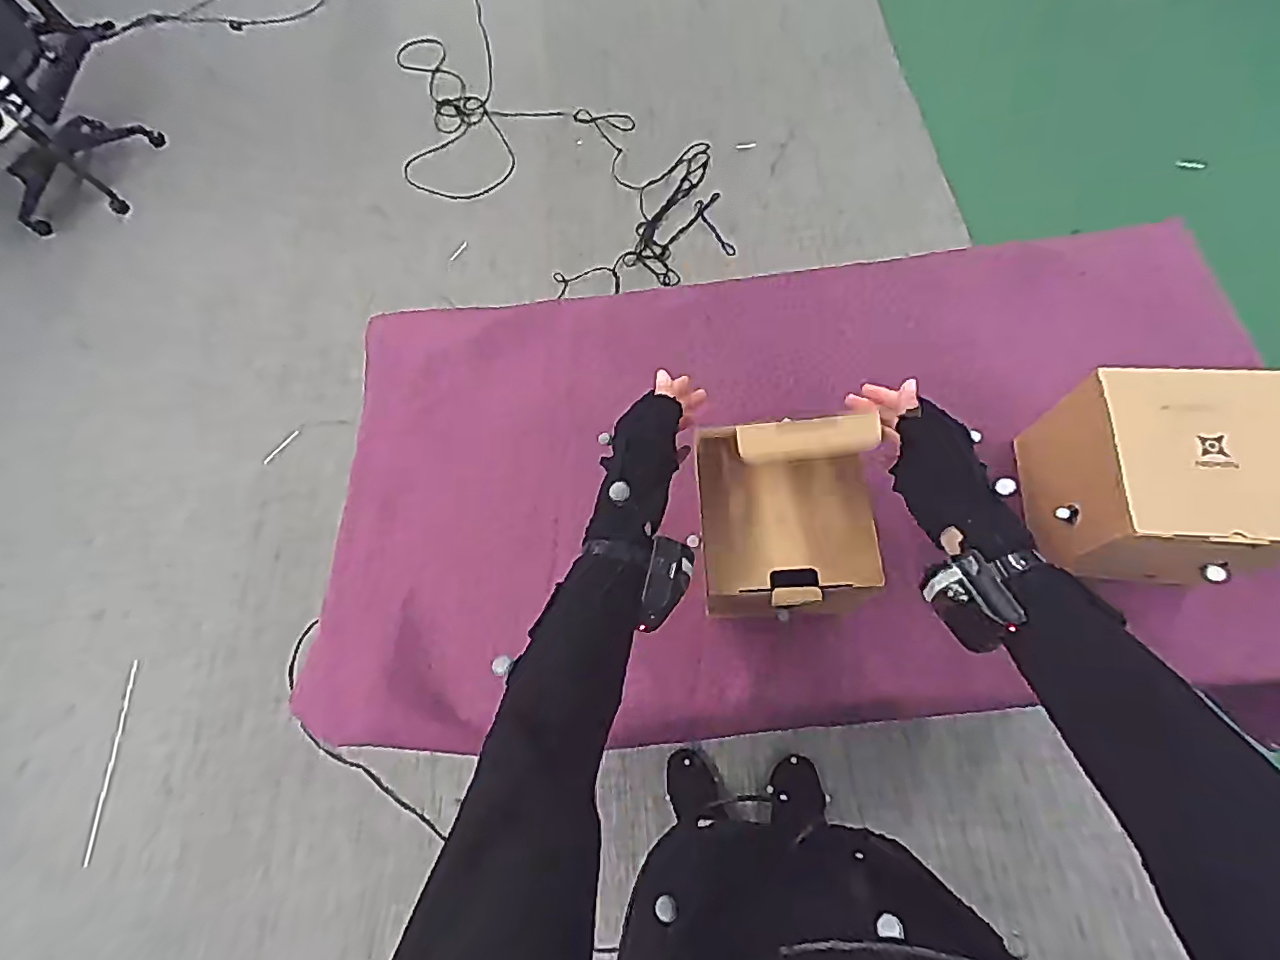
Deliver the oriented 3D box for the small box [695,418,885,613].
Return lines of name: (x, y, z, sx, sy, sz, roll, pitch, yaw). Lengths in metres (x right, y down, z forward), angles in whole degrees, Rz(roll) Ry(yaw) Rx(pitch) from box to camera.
small box: (0.152, 0.051, 0.602, 0.168, 0.176, 0.179, -4, 68, 6)

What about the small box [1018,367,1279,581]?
small box: (0.535, 0.002, 0.567, 0.168, 0.176, 0.179, 4, 69, 9)
